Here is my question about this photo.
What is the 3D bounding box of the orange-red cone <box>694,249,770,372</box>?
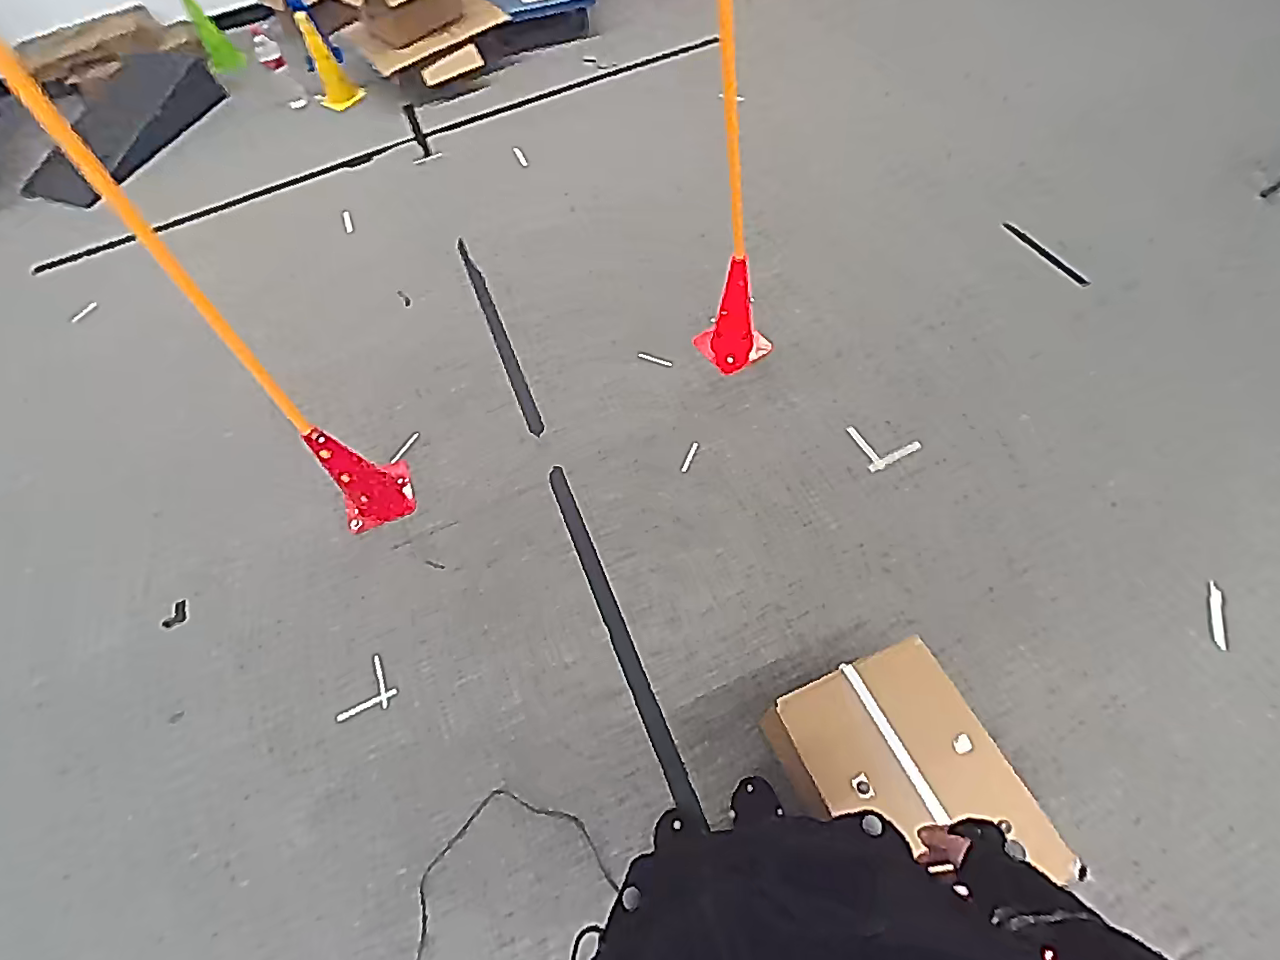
[{"bbox_3d":[0.289,-0.534,1.628,0.199,0.360,0.198,-31,64,-12],"label":"orange-red cone"}]
